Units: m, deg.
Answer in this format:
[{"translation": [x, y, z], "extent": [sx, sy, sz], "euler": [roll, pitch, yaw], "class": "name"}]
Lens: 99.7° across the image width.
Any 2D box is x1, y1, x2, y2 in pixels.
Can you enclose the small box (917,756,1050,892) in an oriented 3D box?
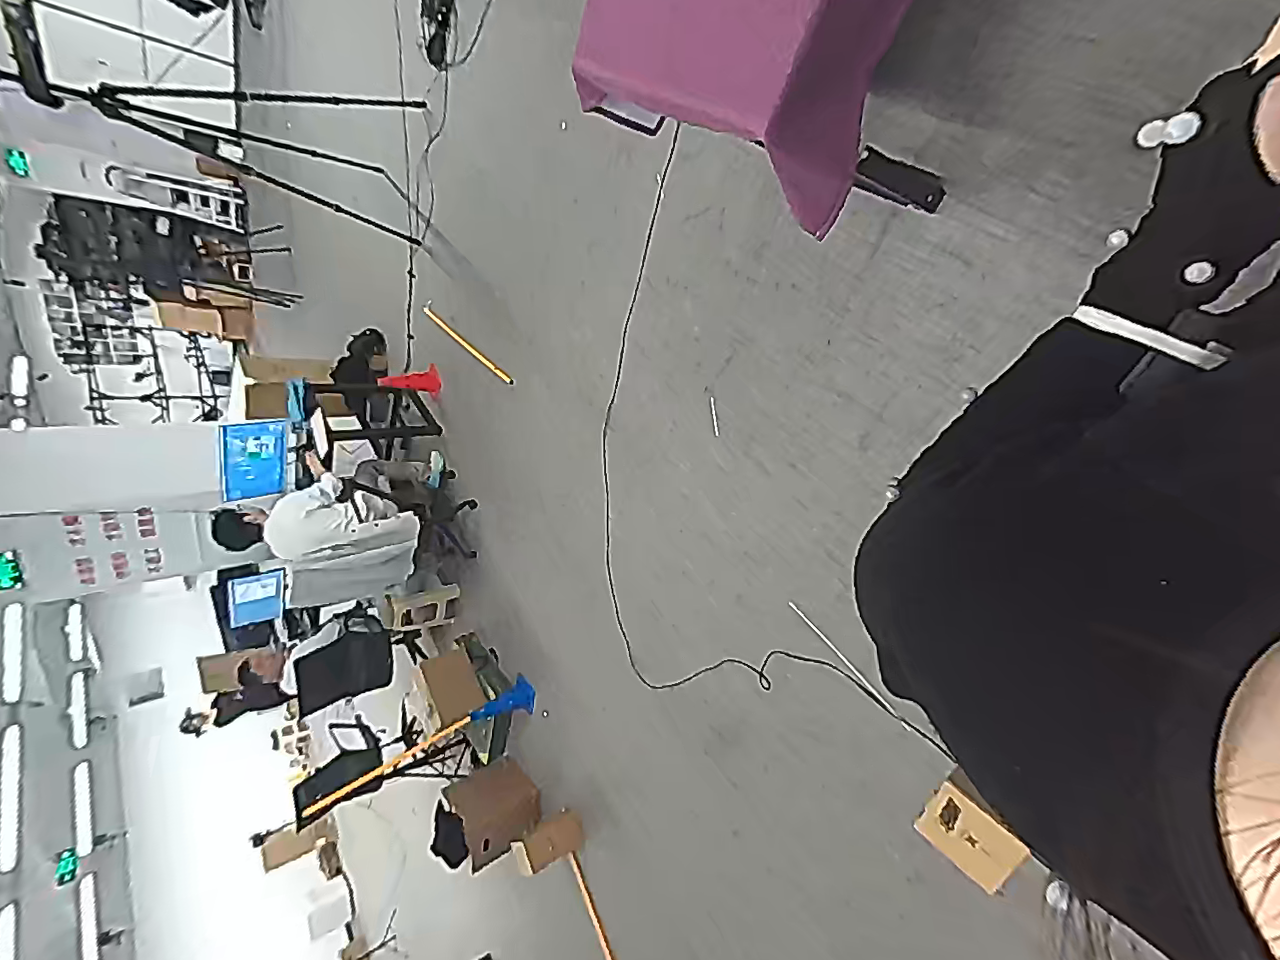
[{"translation": [0.774, 0.758, 1.218], "extent": [0.179, 0.176, 0.168], "euler": [36, 122, 38], "class": "small box"}]
